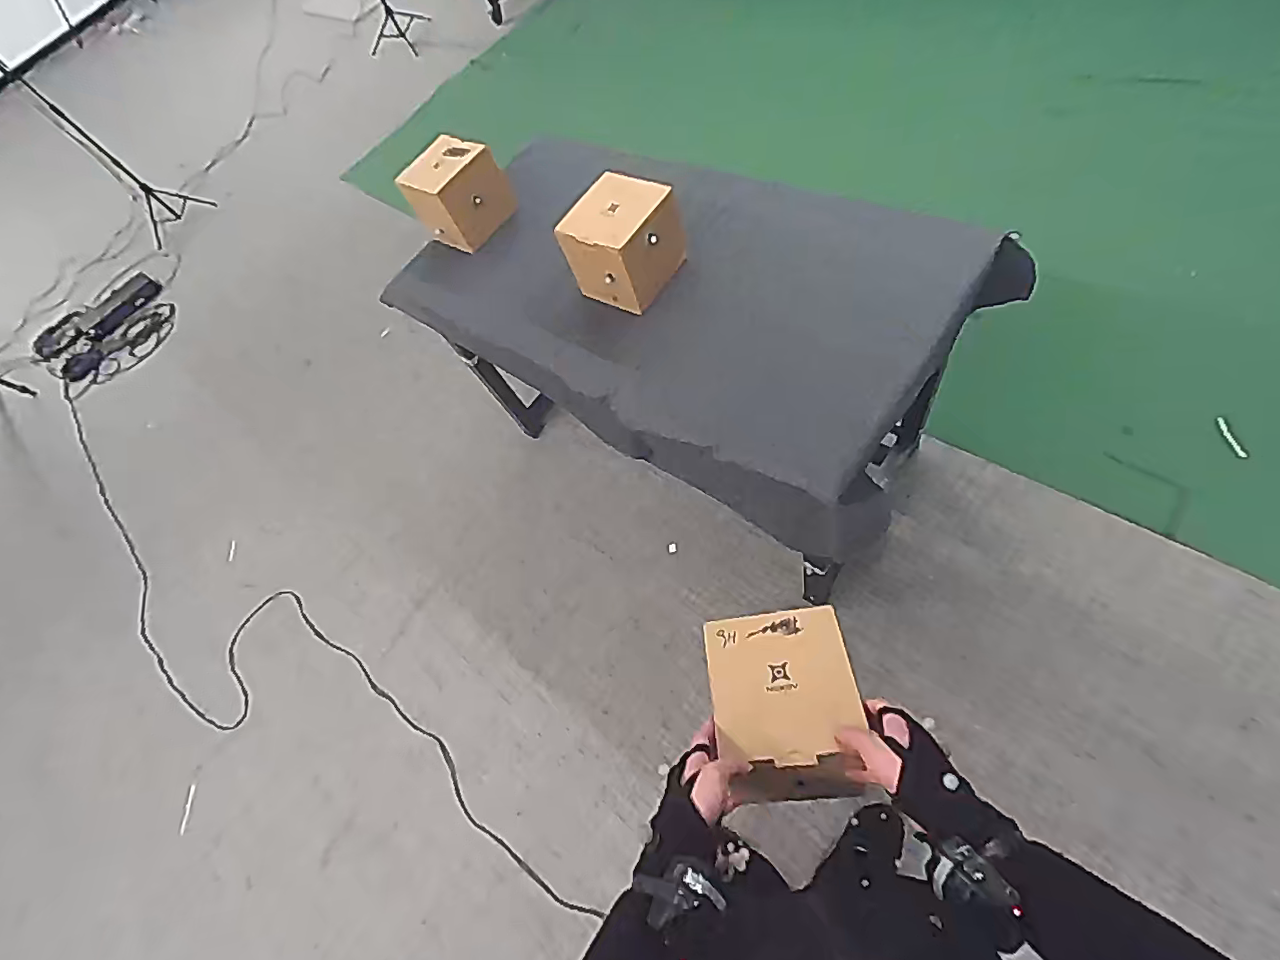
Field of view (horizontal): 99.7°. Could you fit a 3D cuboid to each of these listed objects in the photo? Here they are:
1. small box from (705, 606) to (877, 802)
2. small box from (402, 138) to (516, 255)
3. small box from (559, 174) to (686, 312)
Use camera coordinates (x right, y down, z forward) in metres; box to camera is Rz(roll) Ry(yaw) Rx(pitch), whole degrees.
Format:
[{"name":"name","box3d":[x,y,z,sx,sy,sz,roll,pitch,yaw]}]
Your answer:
[{"name":"small box","box3d":[0.181,0.283,0.670,0.168,0.176,0.179,-10,45,9]},{"name":"small box","box3d":[-0.428,-0.690,1.319,0.168,0.176,0.179,29,74,28]},{"name":"small box","box3d":[-0.025,-0.469,1.081,0.168,0.176,0.179,29,73,27]}]
